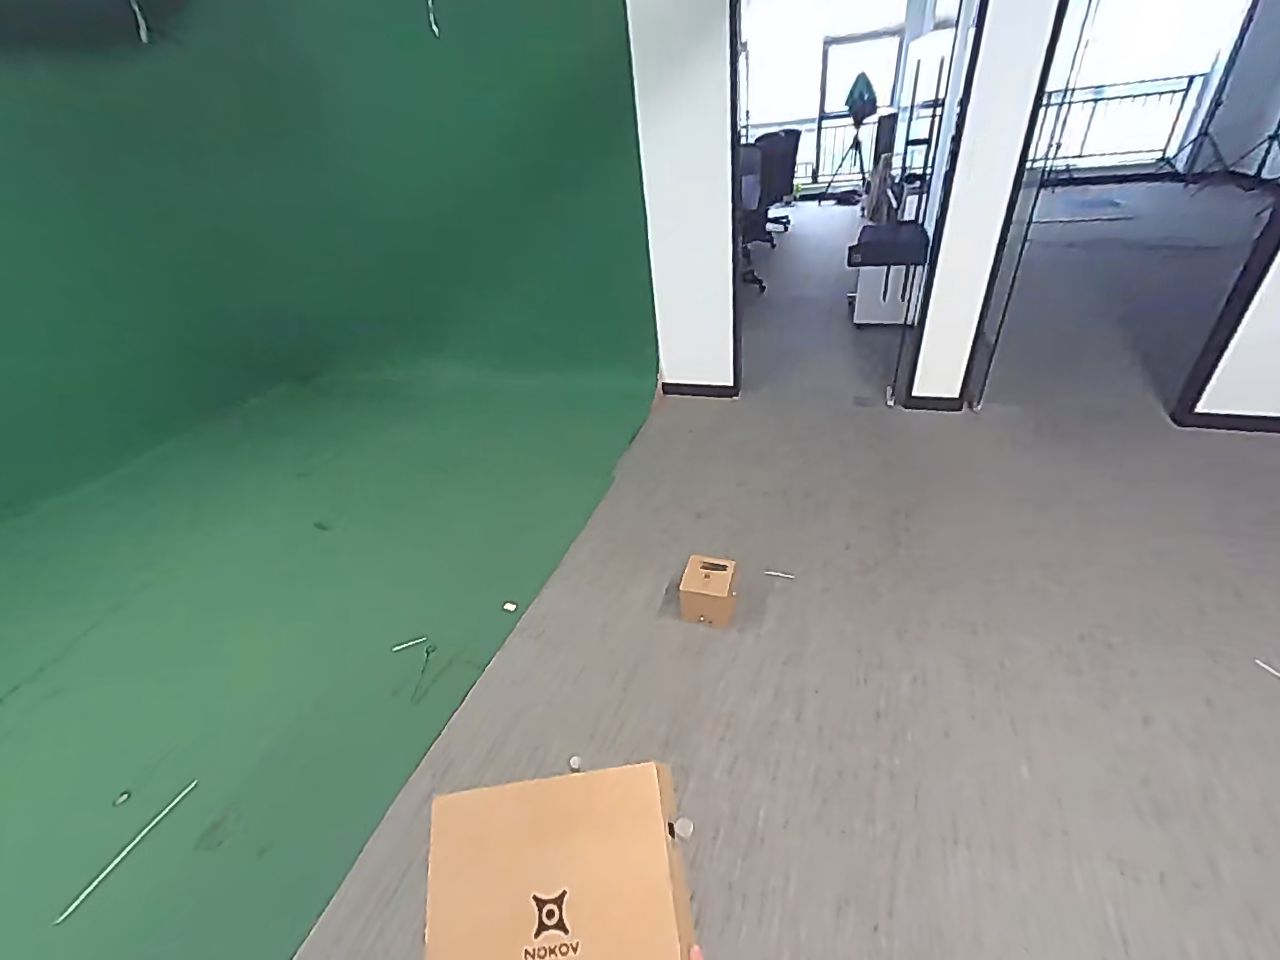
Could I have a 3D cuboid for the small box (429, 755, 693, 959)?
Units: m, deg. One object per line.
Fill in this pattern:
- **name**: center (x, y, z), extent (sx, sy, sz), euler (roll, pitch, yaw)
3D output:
- **small box**: center (-0.051, 0.329, 0.428), extent (0.168, 0.176, 0.179), euler (-10, 61, 2)
